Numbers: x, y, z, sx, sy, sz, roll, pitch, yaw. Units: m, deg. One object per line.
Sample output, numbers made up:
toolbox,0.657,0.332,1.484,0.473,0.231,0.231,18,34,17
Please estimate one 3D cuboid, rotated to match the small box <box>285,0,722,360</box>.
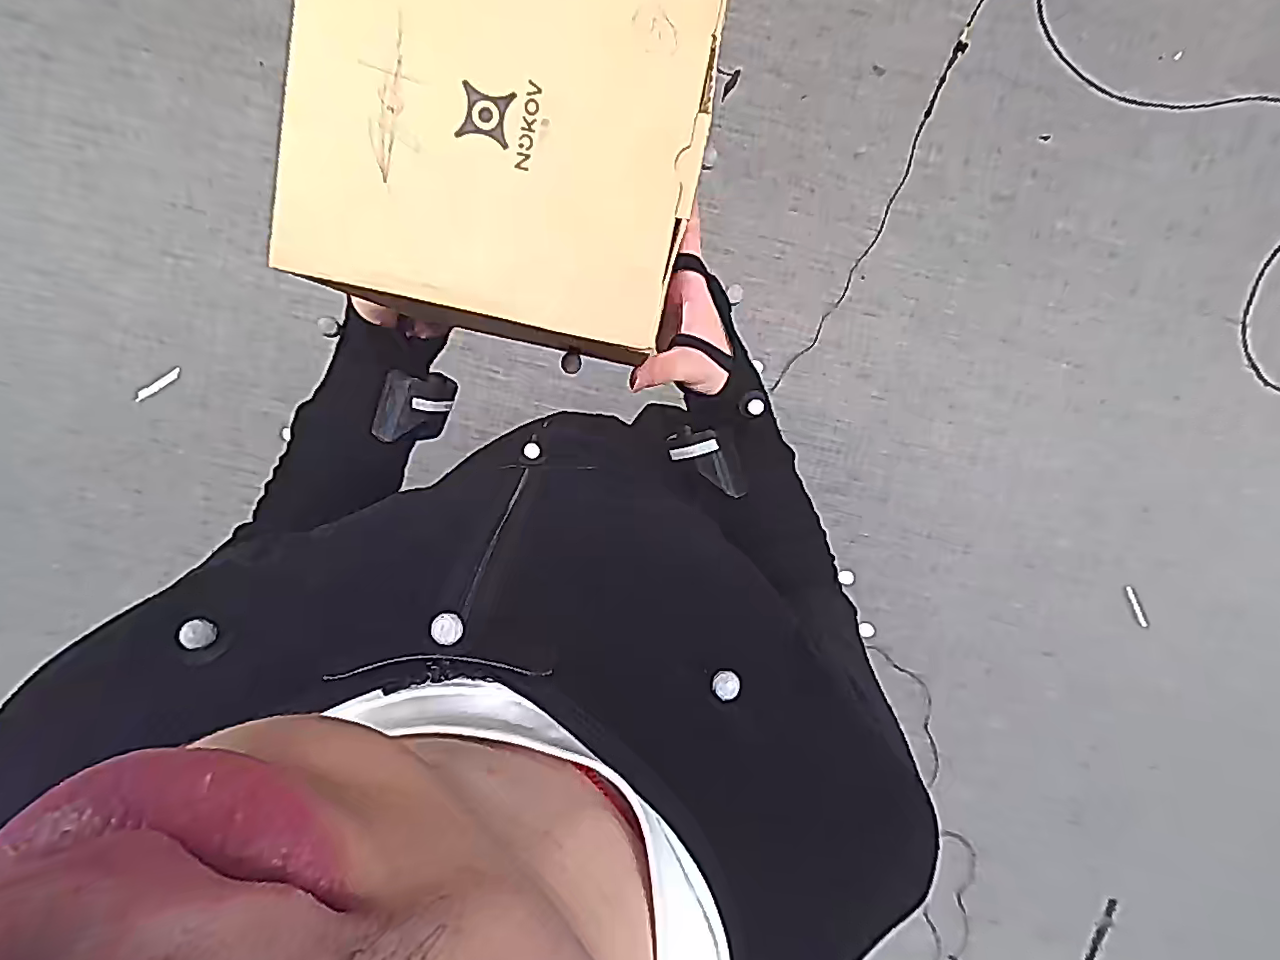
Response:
small box,-0.067,-0.172,0.324,0.179,0.176,0.168,12,98,-3
